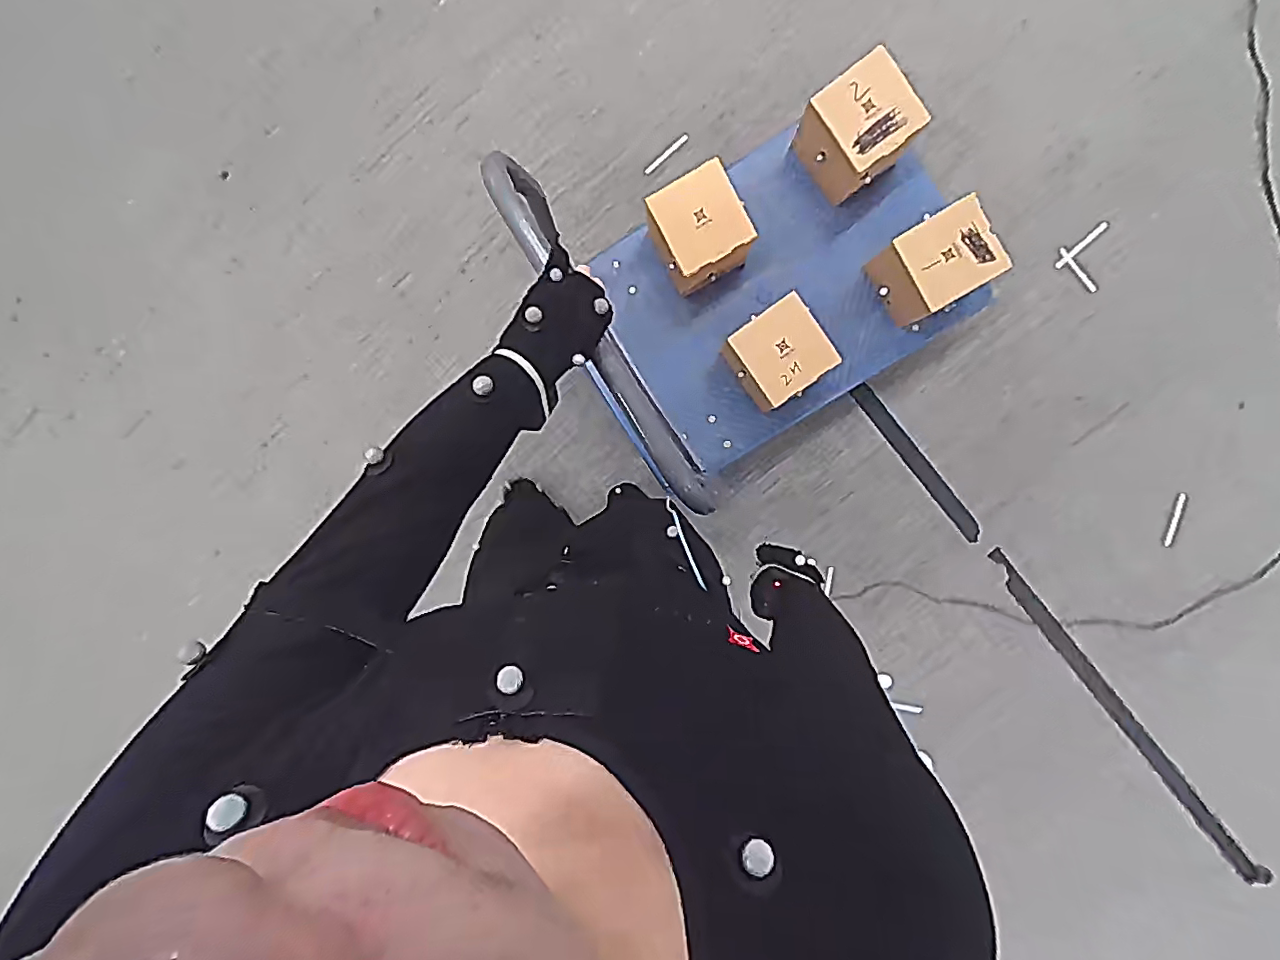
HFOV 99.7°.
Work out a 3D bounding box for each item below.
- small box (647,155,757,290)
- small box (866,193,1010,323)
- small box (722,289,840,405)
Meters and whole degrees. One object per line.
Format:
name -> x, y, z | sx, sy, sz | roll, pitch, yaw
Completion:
small box -> 0.124, -0.535, 1.151 | 0.168, 0.176, 0.179 | -29, 95, 5
small box -> 0.612, -0.453, 1.133 | 0.179, 0.176, 0.168 | -30, 93, 7
small box -> 0.293, -0.275, 1.167 | 0.168, 0.176, 0.179 | -35, 93, 6
